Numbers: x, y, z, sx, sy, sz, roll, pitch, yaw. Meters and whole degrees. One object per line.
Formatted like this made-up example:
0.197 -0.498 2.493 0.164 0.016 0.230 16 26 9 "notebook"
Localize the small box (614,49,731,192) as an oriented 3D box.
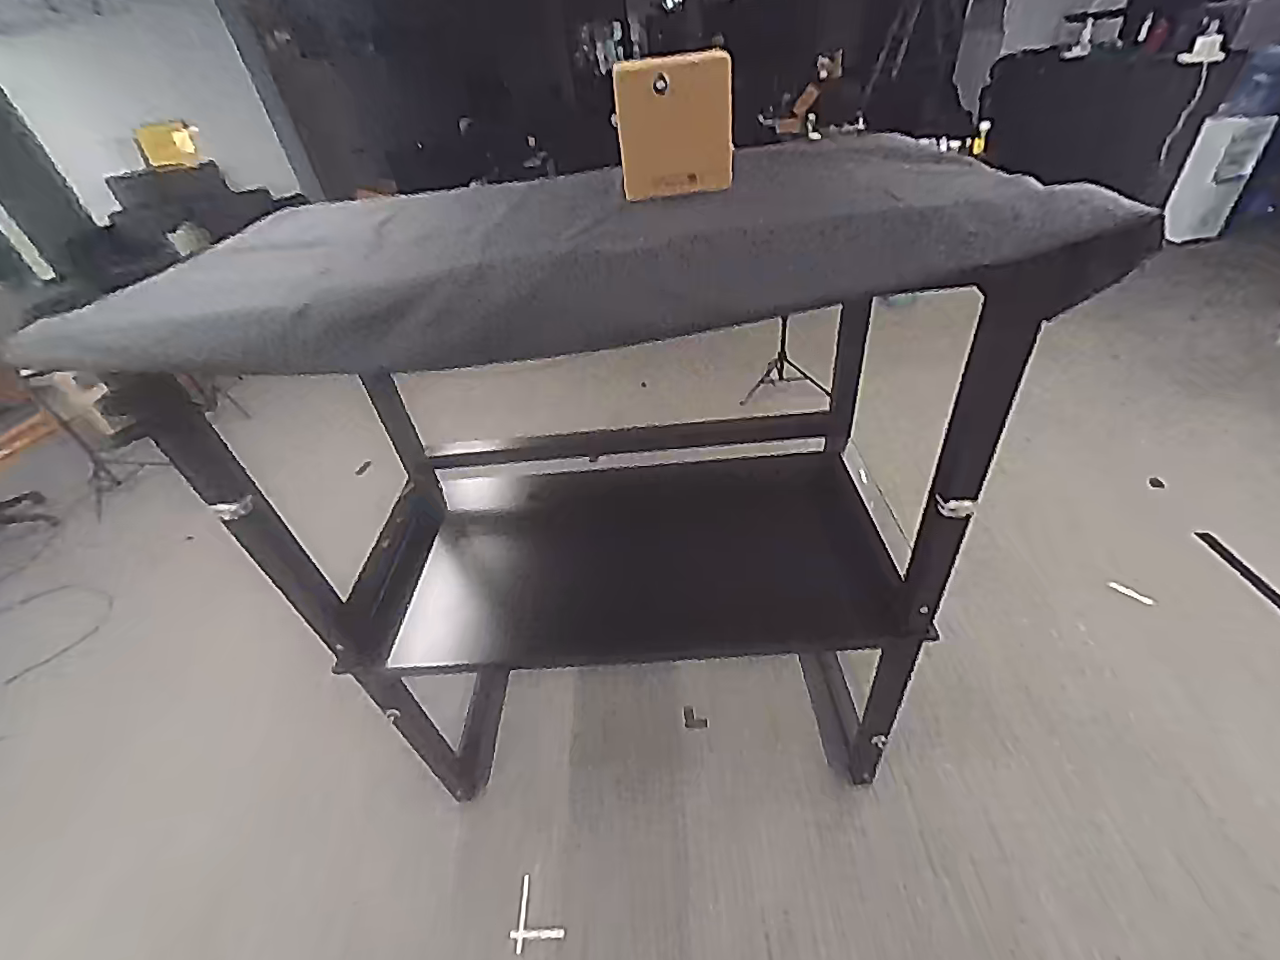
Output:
0.052 -0.572 0.865 0.168 0.176 0.179 -6 38 4 "small box"
